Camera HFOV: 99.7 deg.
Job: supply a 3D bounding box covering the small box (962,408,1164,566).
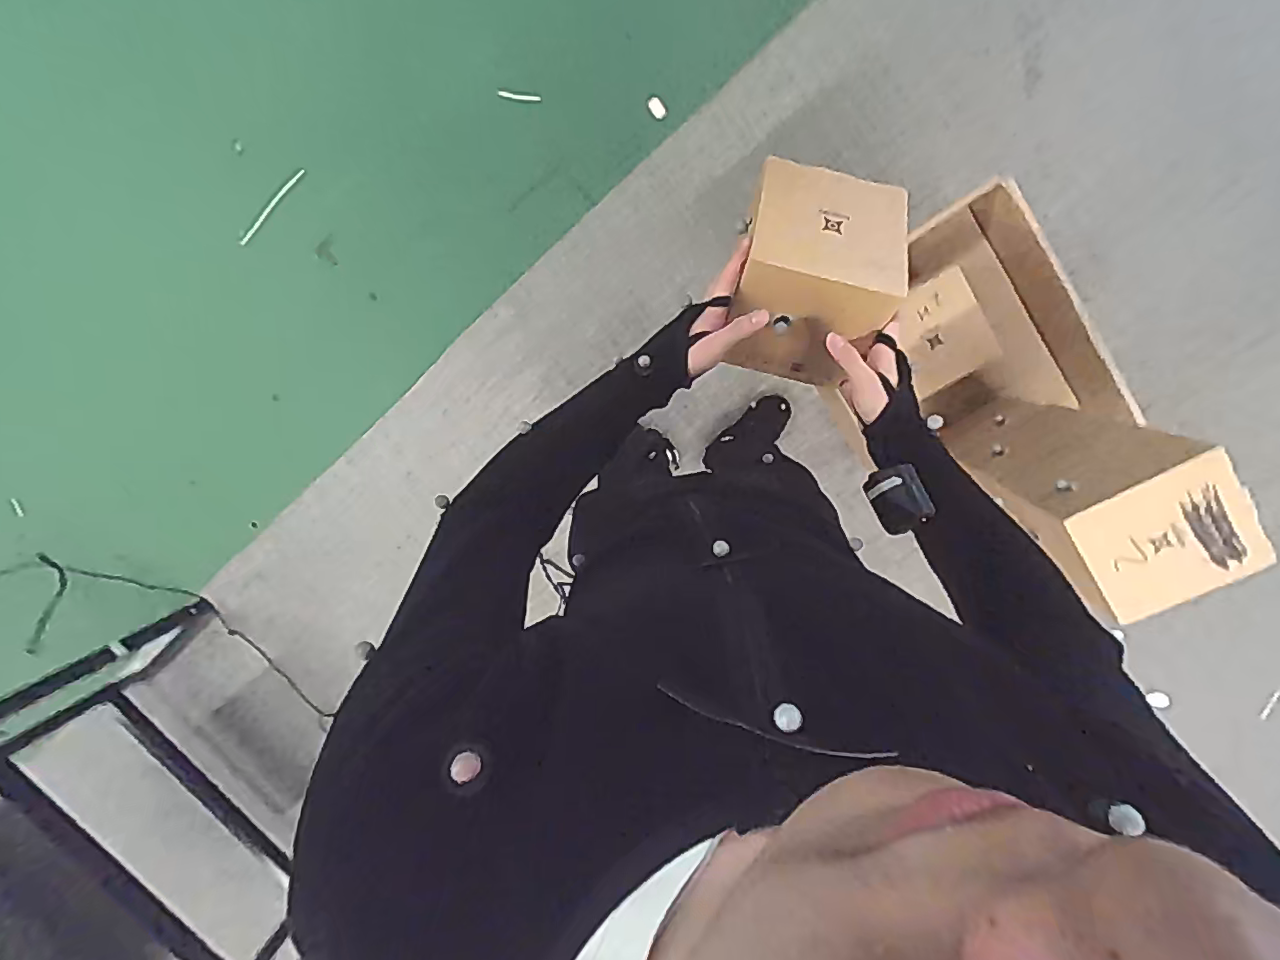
[{"bbox_3d":[0.651,0.004,0.864,0.179,0.176,0.168,-32,98,15],"label":"small box"}]
